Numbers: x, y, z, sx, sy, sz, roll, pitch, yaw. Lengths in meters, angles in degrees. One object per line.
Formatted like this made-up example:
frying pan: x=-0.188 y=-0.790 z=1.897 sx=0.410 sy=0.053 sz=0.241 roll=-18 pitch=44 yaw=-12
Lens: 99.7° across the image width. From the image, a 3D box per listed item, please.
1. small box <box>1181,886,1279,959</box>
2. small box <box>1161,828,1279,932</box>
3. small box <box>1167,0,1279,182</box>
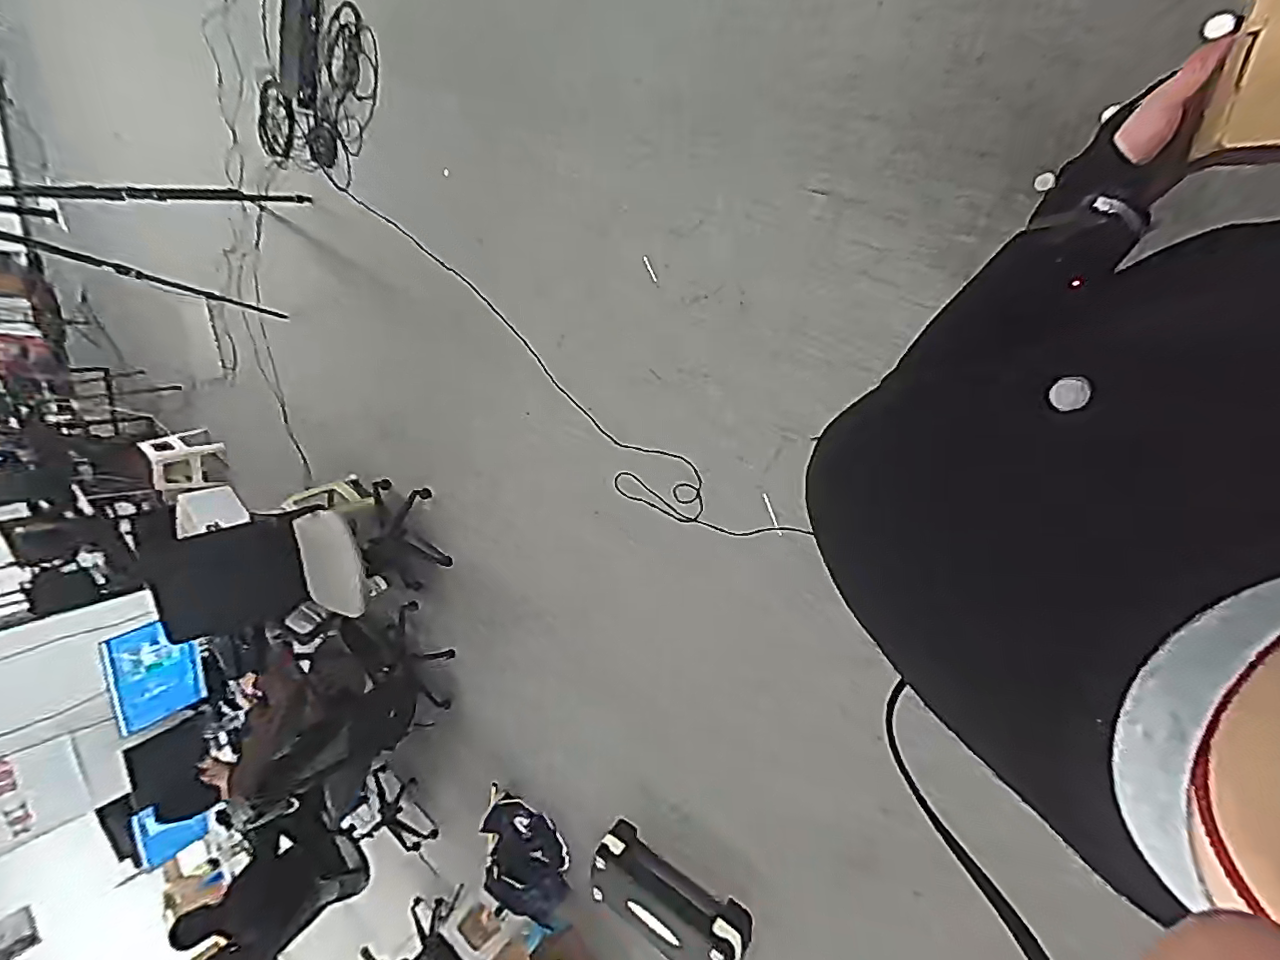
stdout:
small box: x=1.237 y=0.977 z=1.077 sx=0.168 sy=0.176 sz=0.179 roll=26 pitch=116 yaw=25
small box: x=1.324 y=0.944 z=1.213 sx=0.168 sy=0.176 sz=0.179 roll=26 pitch=116 yaw=25
small box: x=0.475 y=-0.285 z=0.335 sx=0.179 sy=0.176 sz=0.168 roll=17 pitch=120 yaw=32
